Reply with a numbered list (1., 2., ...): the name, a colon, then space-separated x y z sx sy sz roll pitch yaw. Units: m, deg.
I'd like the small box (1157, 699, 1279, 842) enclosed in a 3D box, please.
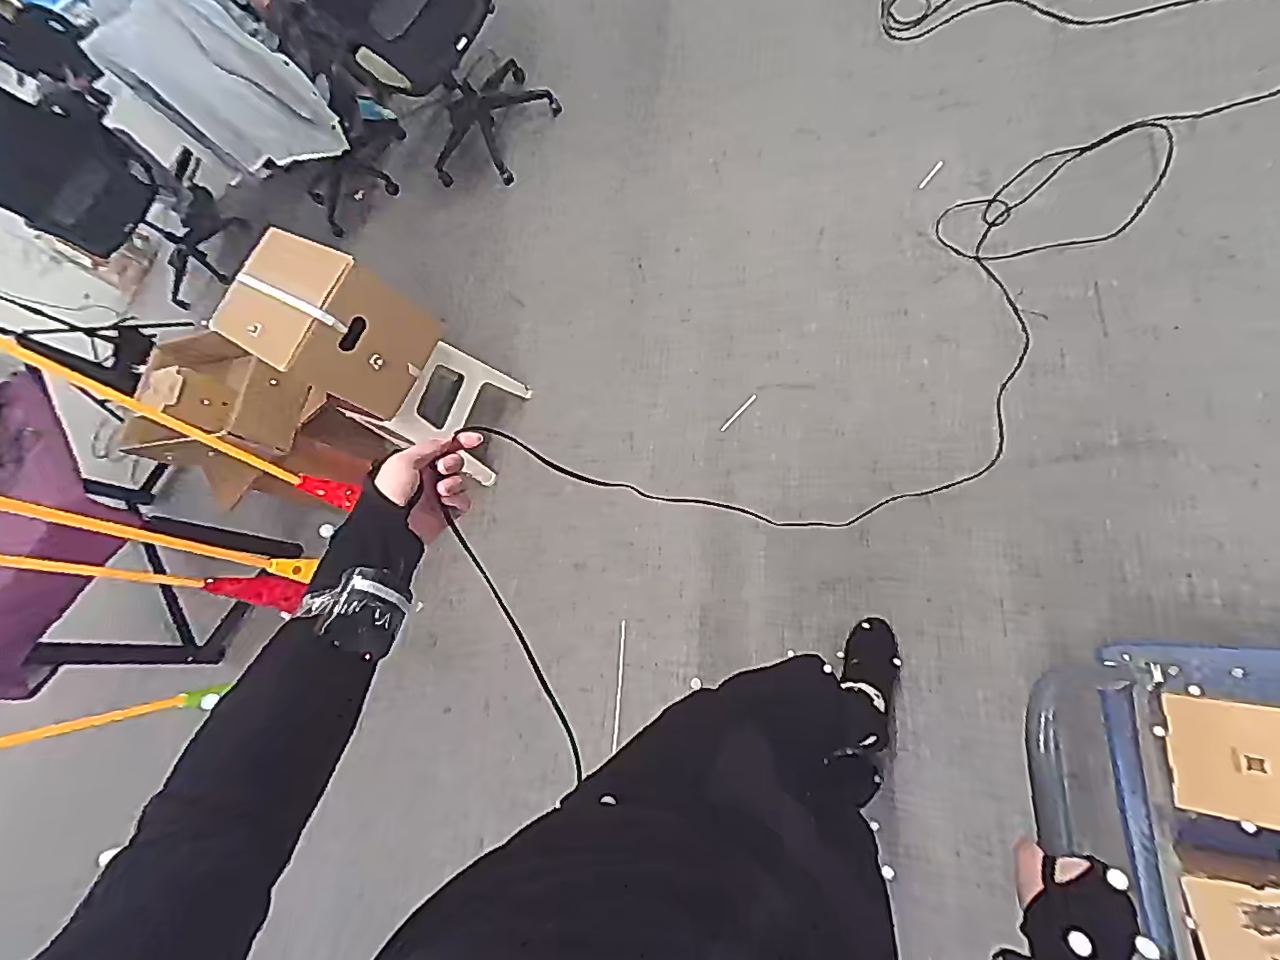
1. small box: 0.928 0.440 0.835 0.179 0.176 0.168 -7 72 42
